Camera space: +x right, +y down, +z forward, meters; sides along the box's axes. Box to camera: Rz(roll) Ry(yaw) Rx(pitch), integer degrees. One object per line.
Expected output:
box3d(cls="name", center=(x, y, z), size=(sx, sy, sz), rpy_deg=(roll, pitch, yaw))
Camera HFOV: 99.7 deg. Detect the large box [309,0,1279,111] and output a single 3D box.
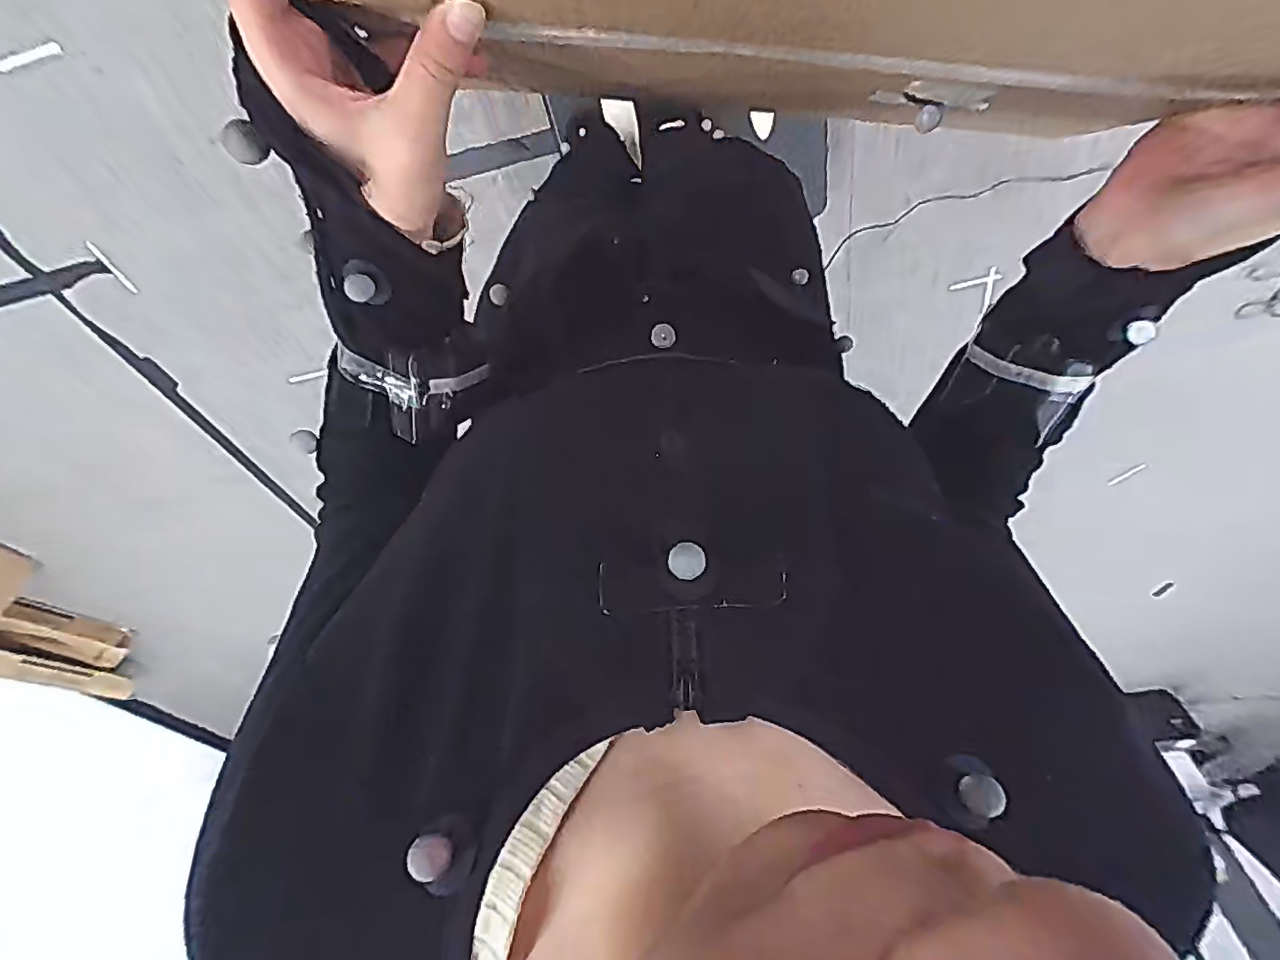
box3d(cls="large box", center=(0.075, -0.312, 0.141), size=(0.408, 0.320, 0.320), rpy_deg=(2, 118, -2))
